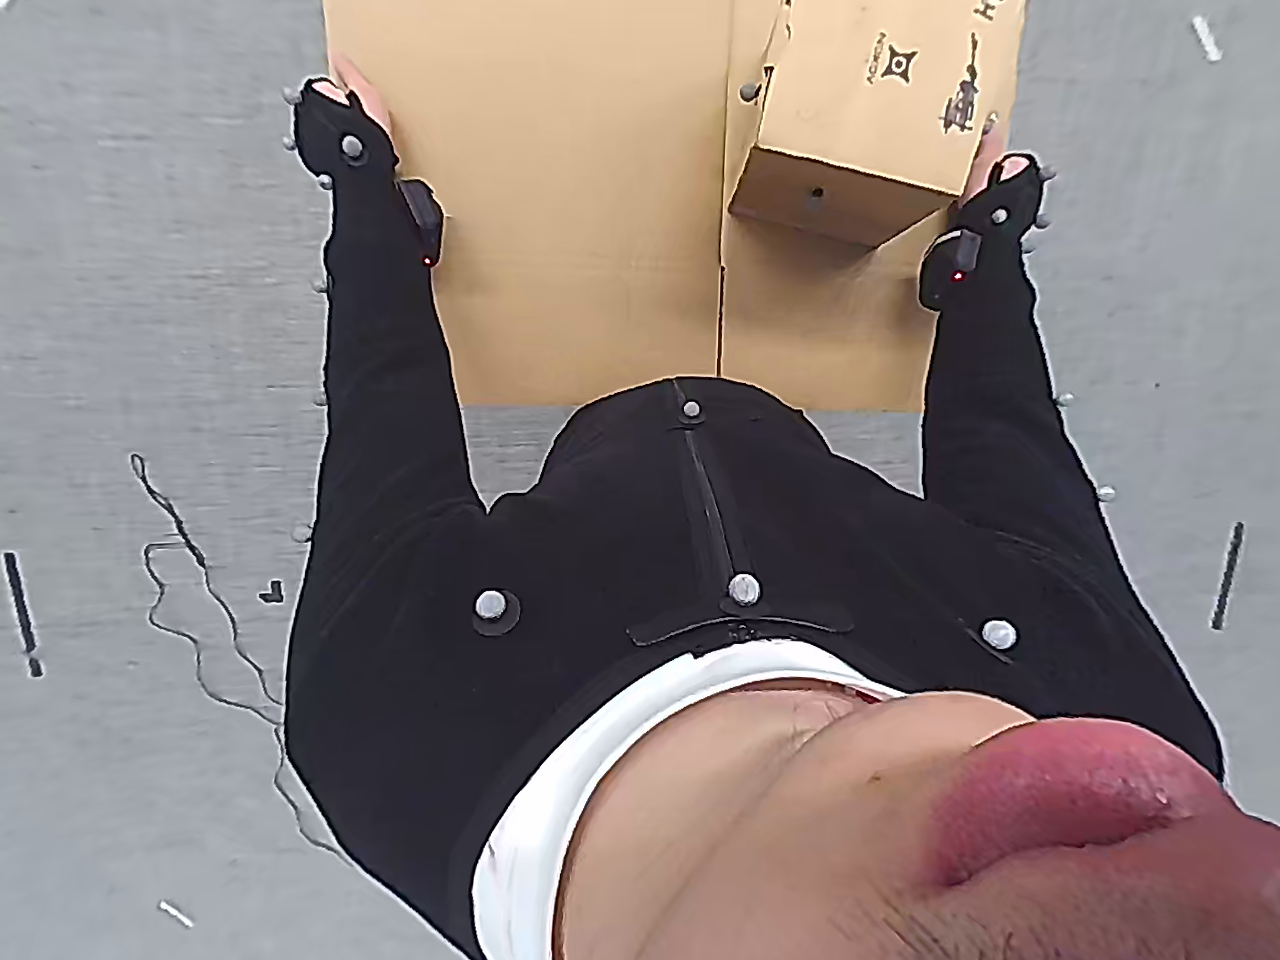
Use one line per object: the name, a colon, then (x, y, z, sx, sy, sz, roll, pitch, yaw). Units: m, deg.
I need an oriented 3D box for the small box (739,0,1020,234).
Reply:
small box: (0.200, -0.349, 0.505, 0.179, 0.176, 0.168, 13, 101, 1)
